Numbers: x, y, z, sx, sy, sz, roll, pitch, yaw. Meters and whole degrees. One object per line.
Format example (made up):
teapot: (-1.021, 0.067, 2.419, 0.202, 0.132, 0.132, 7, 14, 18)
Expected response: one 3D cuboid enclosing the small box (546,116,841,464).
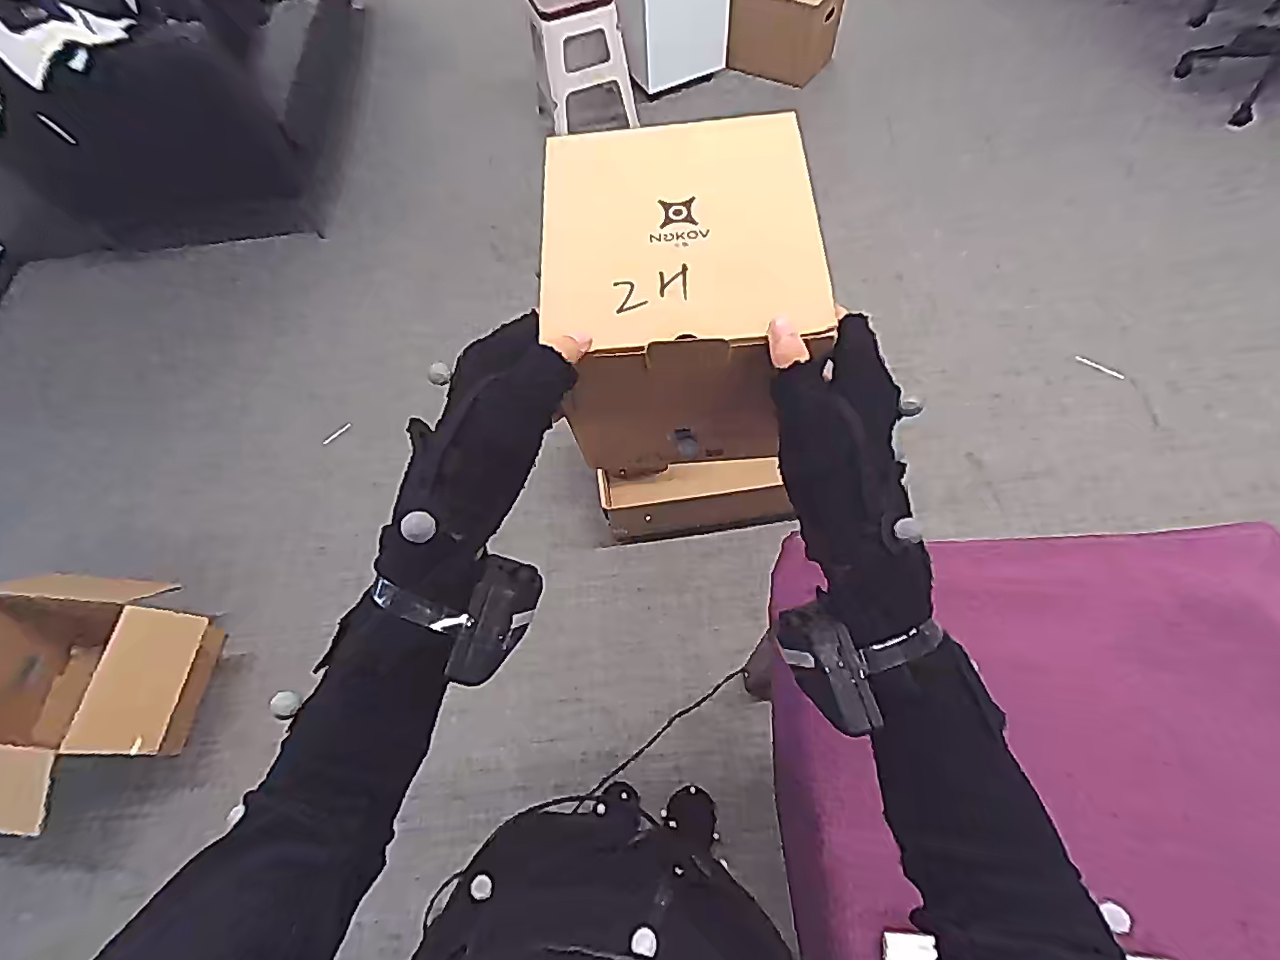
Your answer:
small box: (0.033, -0.126, 0.402, 0.168, 0.176, 0.179, -3, 68, 4)
